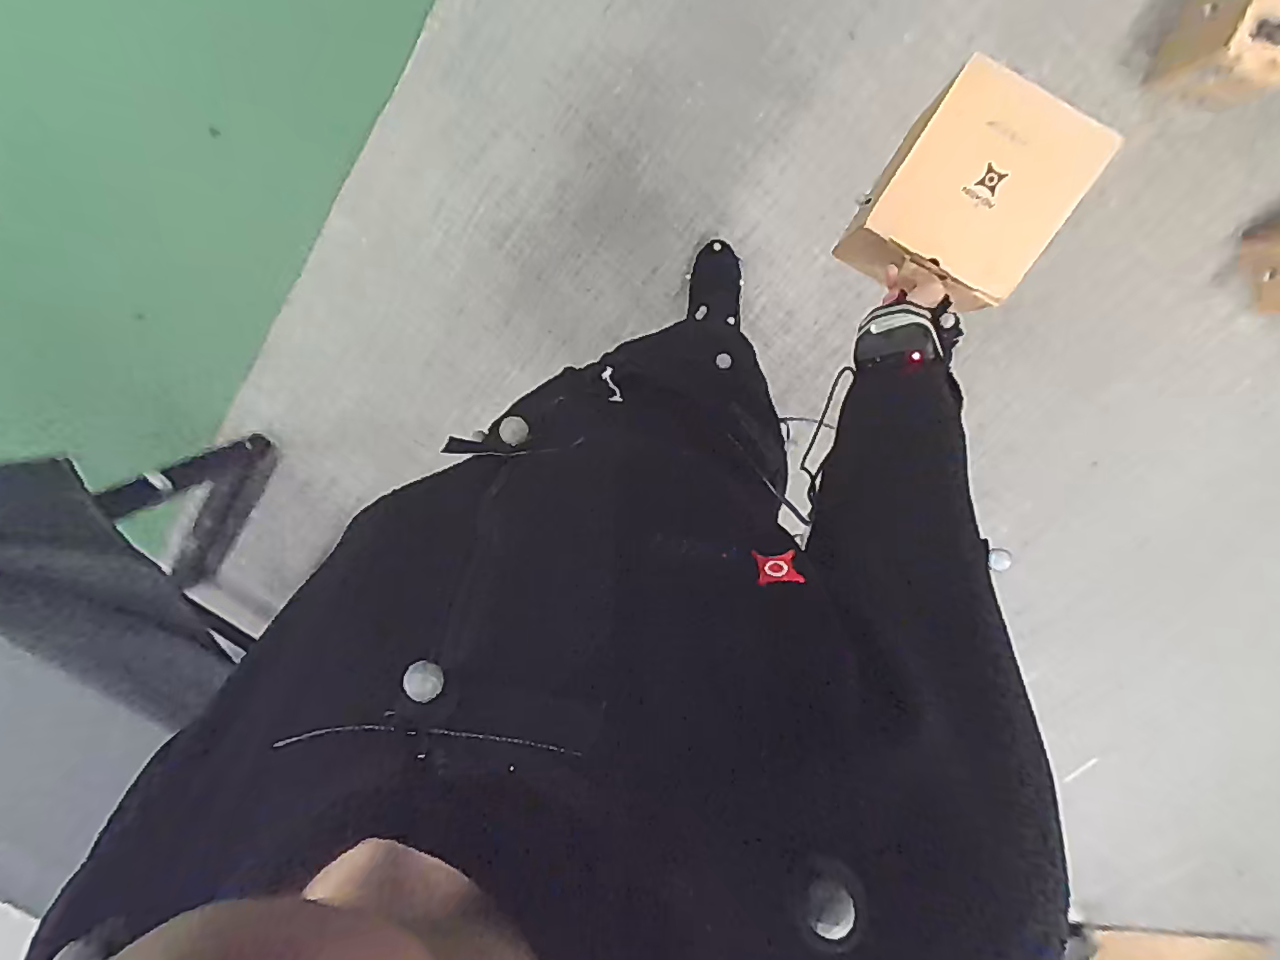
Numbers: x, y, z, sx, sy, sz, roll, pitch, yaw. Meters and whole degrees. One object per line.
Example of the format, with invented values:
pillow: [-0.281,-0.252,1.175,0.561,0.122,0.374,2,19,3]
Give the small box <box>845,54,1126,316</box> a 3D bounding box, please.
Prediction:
small box: [0.352,-0.300,0.600,0.168,0.176,0.179,32,104,-1]

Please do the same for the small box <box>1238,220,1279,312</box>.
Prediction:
small box: [1.335,-0.437,1.037,0.179,0.176,0.168,-29,106,14]
